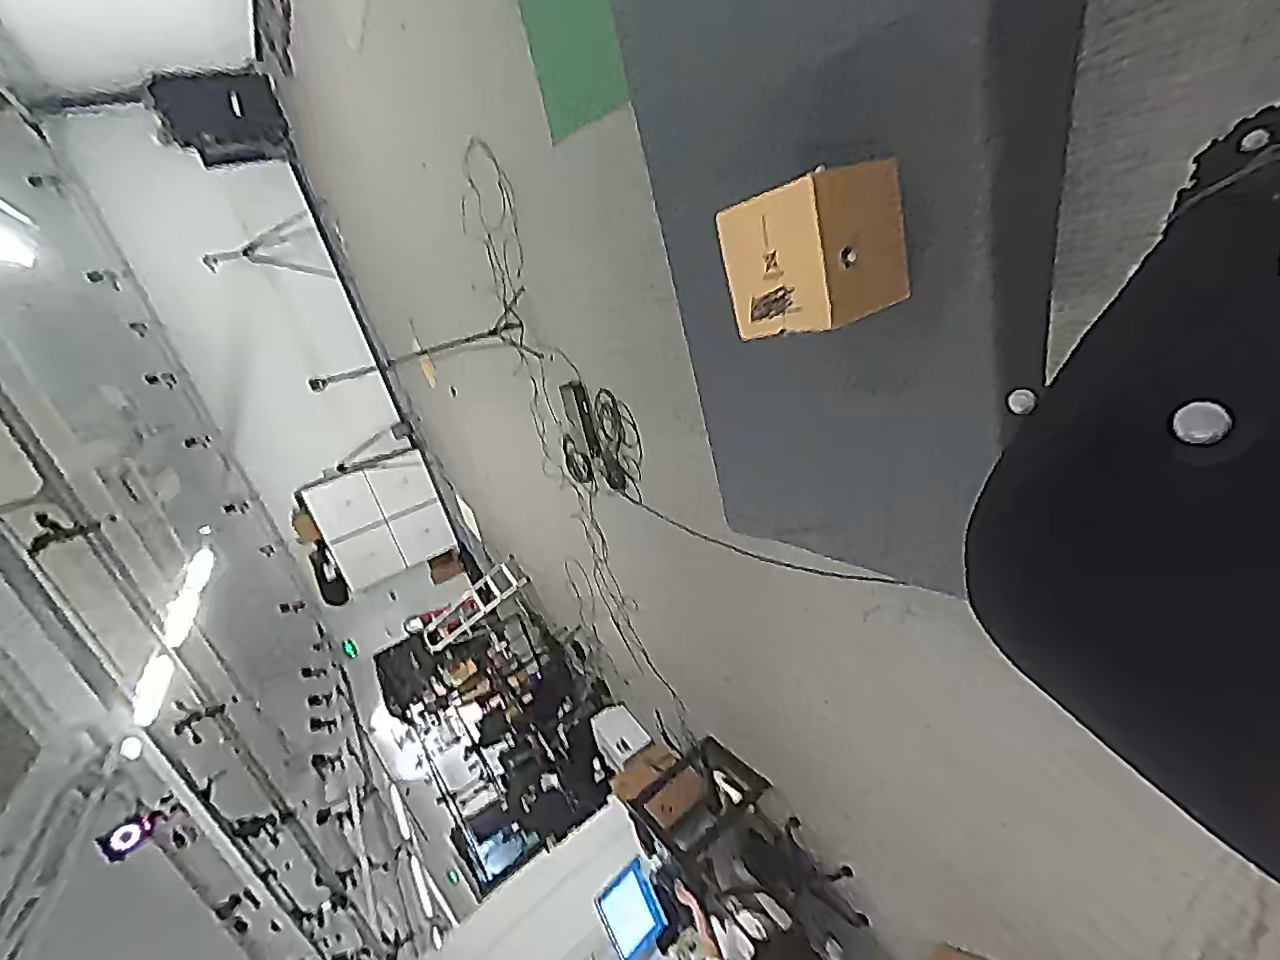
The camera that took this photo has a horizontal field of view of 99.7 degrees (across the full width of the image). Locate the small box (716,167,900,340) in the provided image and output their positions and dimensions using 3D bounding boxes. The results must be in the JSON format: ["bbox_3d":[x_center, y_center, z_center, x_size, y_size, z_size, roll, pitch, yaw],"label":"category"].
[{"bbox_3d":[0.235,-0.306,0.748,0.168,0.176,0.179,13,123,56],"label":"small box"}]
